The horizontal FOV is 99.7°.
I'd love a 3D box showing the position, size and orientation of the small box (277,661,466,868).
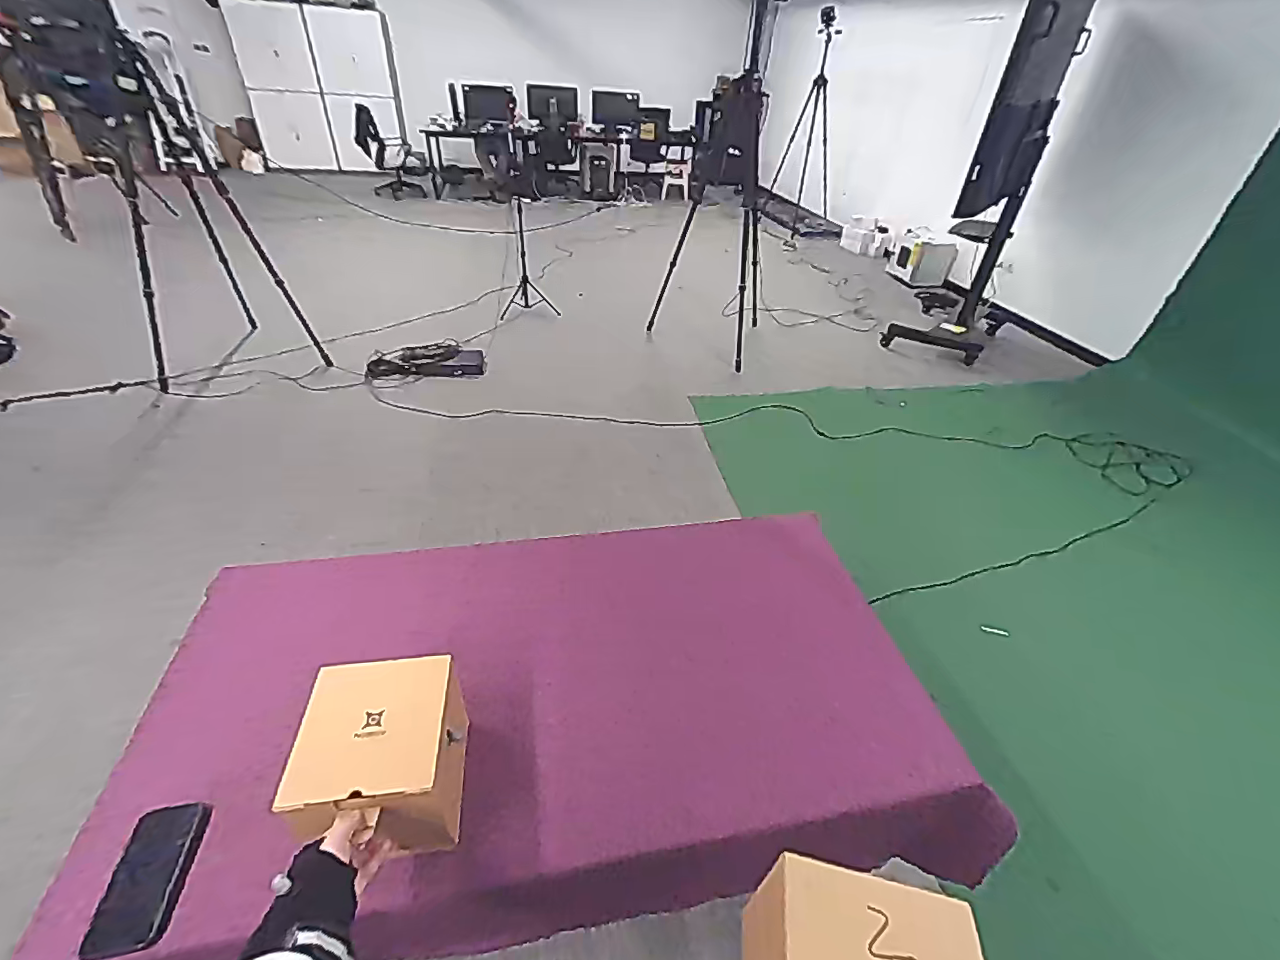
[{"bbox_3d":[-0.323,0.360,0.695,0.168,0.176,0.179,-2,38,-9],"label":"small box"}]
